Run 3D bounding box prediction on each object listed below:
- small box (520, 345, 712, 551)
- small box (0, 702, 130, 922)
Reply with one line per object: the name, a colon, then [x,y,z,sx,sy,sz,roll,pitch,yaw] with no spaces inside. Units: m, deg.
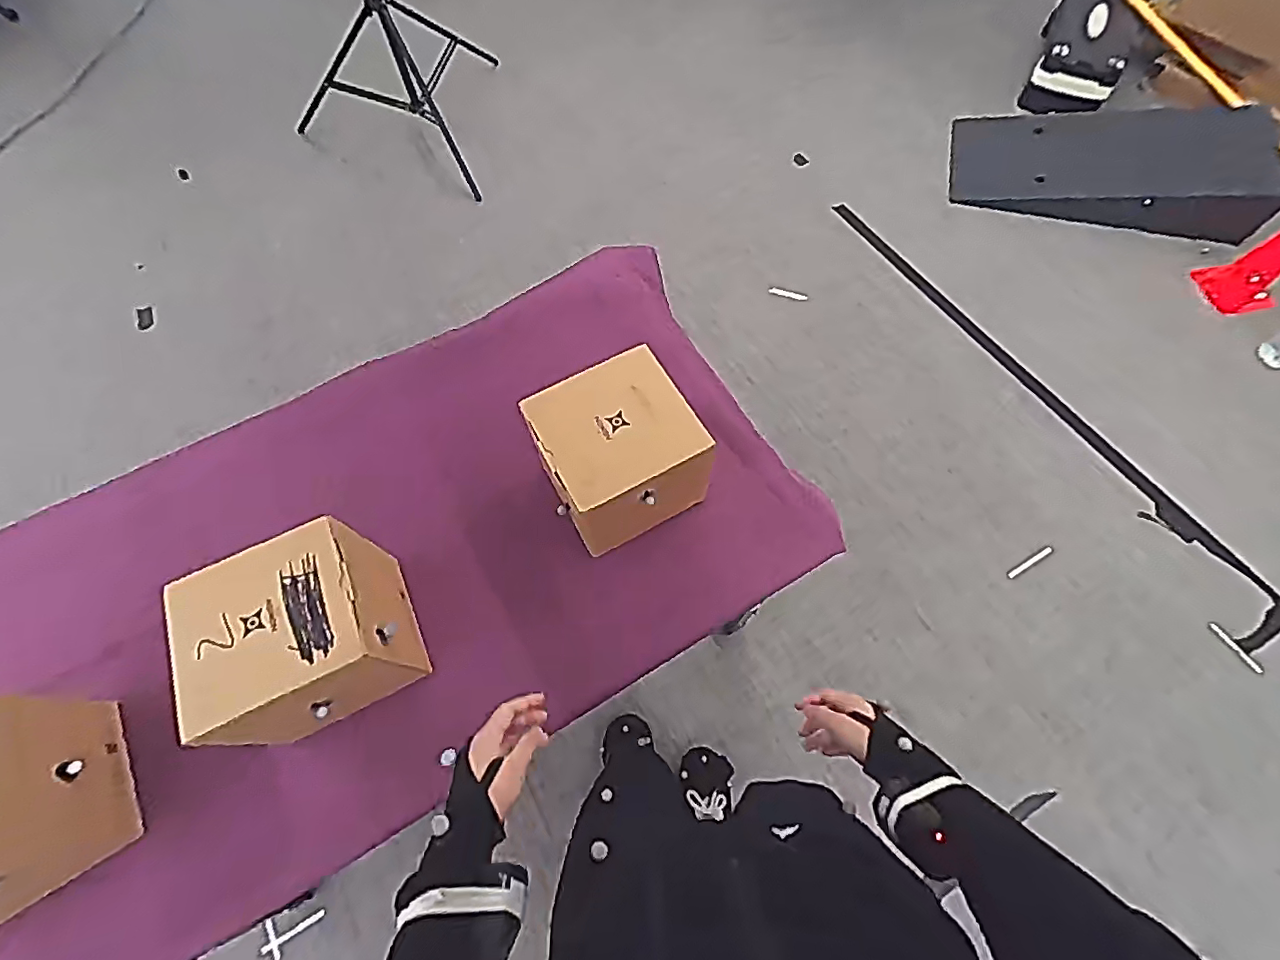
small box: [-0.028,-0.032,0.695,0.179,0.176,0.168,-27,68,-11]
small box: [-0.664,0.338,0.538,0.179,0.176,0.168,-31,67,-12]
